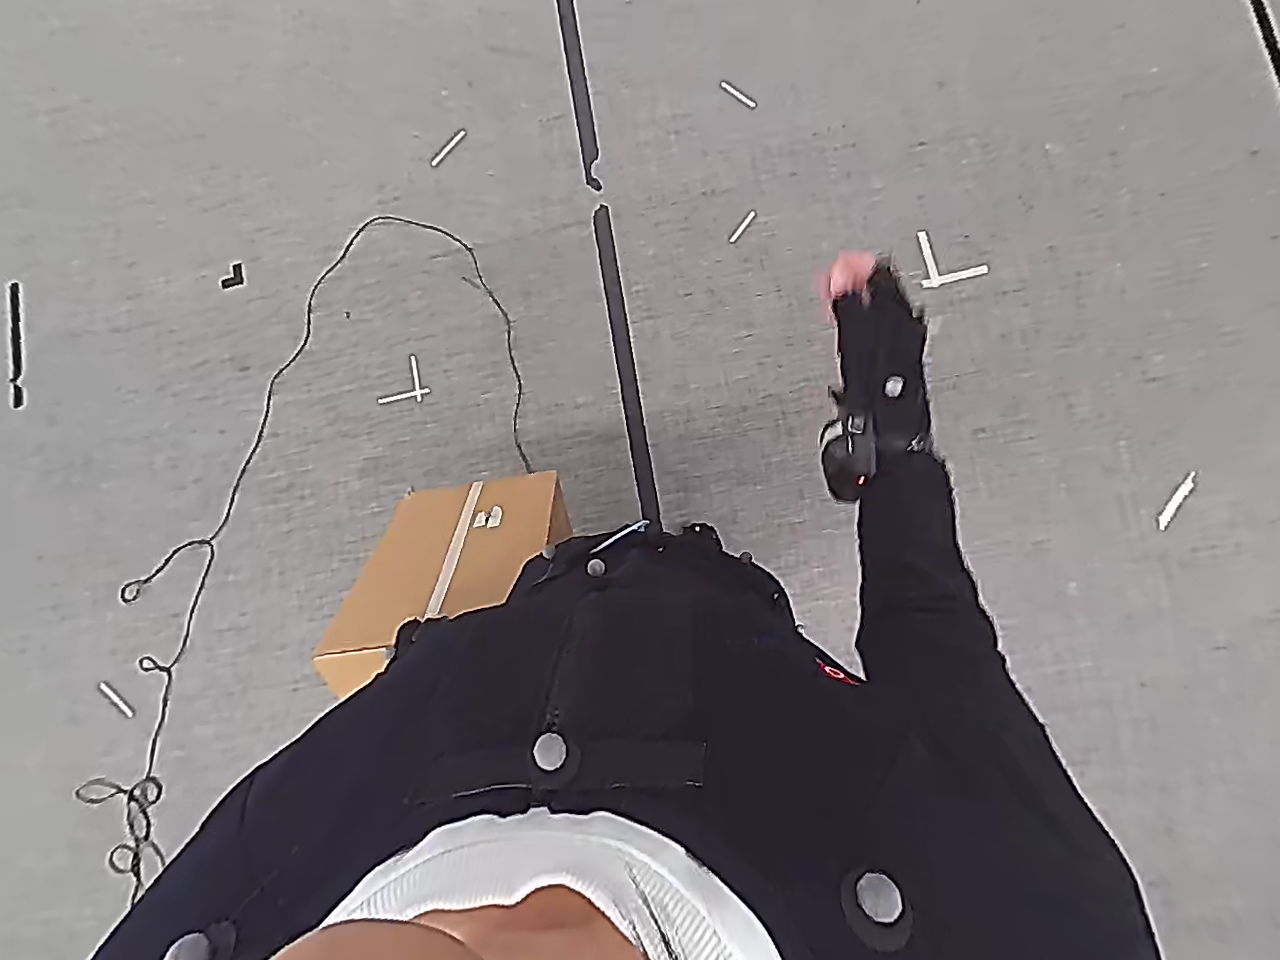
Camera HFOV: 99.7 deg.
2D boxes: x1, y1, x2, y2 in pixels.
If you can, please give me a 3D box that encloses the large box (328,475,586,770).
[{"bbox_3d":[-0.280,0.241,0.992,0.320,0.408,0.320,-7,122,1],"label":"large box"}]
